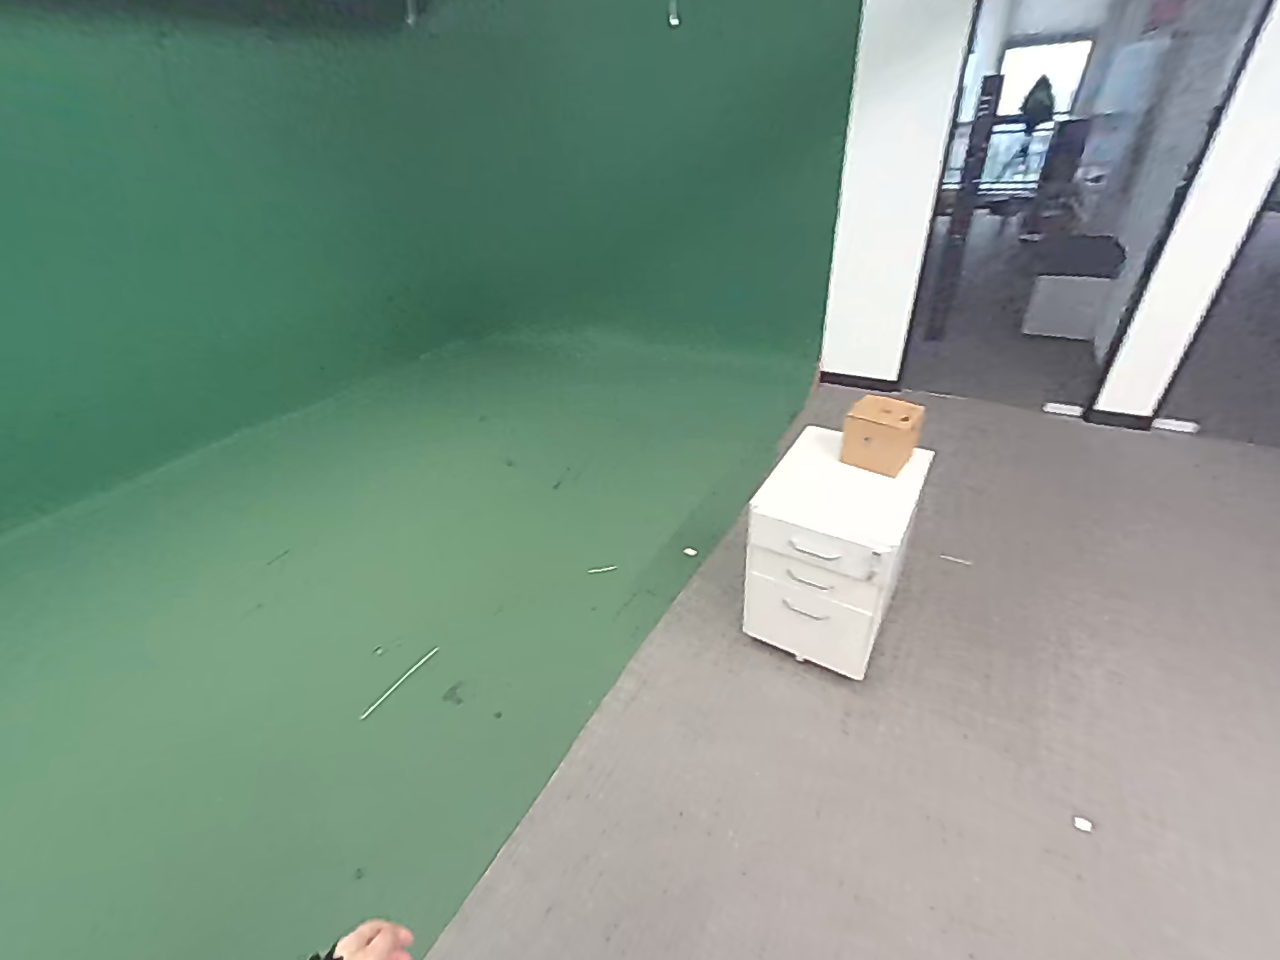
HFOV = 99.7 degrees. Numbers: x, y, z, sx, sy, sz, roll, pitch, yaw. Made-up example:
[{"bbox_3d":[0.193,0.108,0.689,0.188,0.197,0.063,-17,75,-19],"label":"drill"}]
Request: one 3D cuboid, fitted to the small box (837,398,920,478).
[{"bbox_3d":[0.717,-0.126,1.638,0.179,0.176,0.168,22,43,34],"label":"small box"}]
